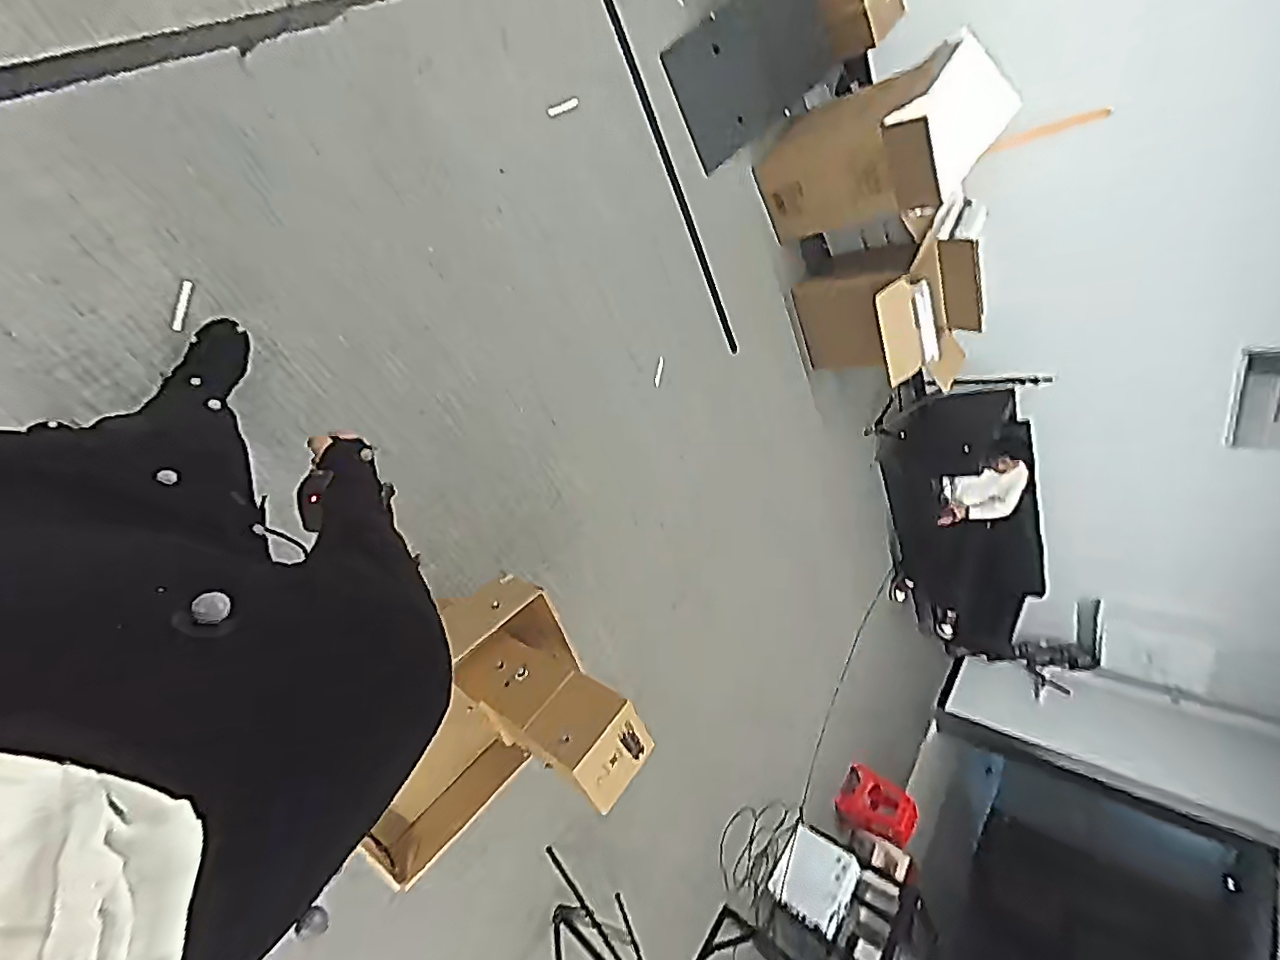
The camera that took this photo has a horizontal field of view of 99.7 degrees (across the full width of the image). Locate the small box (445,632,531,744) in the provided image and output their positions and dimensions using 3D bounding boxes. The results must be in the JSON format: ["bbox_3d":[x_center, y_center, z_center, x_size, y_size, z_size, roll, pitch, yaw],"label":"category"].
[{"bbox_3d":[-0.357,0.518,1.375,0.179,0.176,0.168,-41,123,-32],"label":"small box"}]

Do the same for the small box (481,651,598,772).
[{"bbox_3d":[-0.235,0.532,1.267,0.168,0.176,0.179,-44,126,-32],"label":"small box"}]
